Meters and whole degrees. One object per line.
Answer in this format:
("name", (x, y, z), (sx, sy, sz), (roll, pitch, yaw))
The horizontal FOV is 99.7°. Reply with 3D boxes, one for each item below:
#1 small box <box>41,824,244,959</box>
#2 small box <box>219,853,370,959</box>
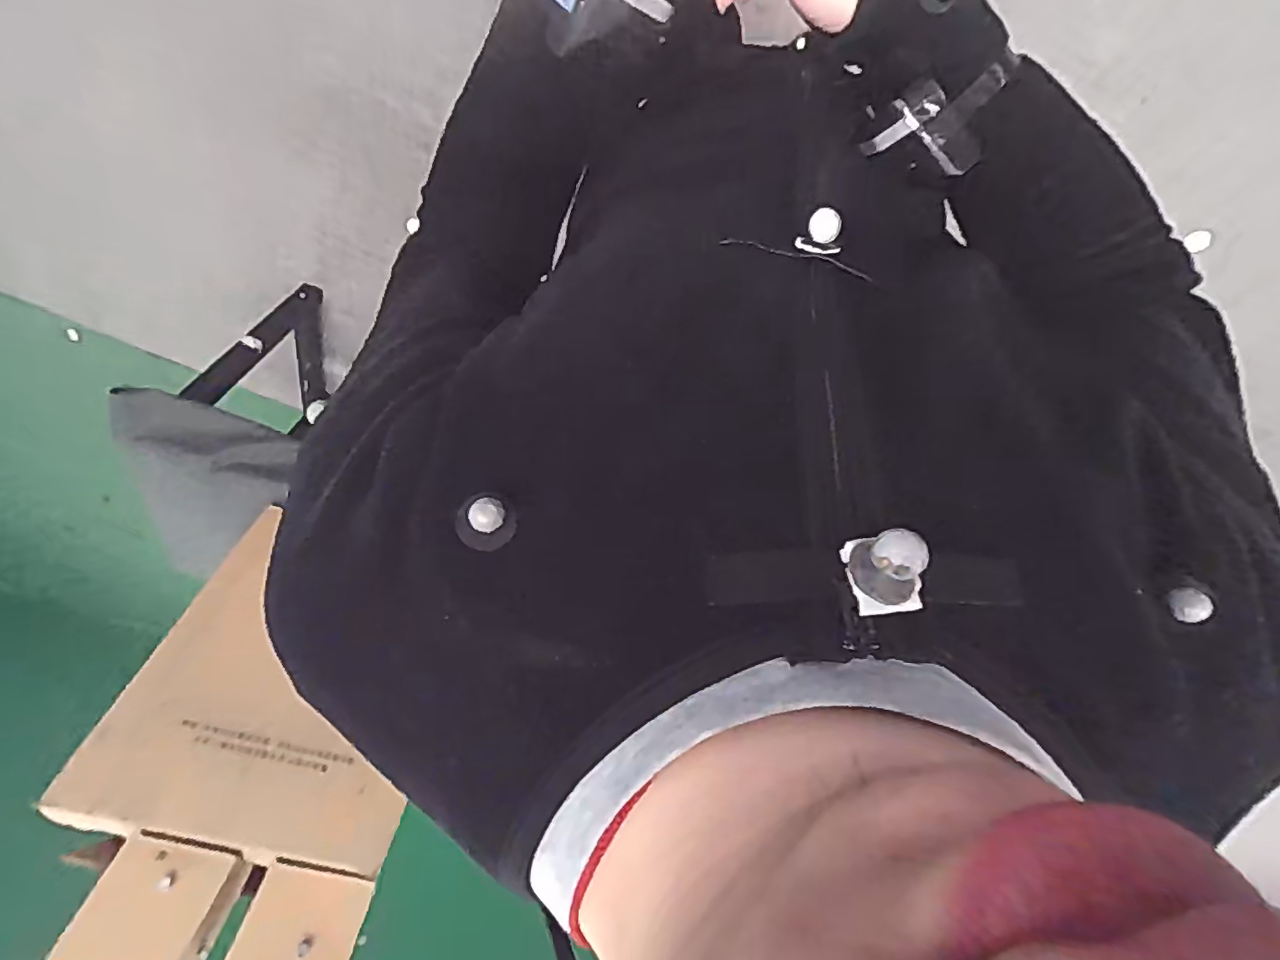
("small box", (-0.794, 0.690, 0.892), (0.168, 0.176, 0.179), (21, 136, -11))
("small box", (-0.587, 0.758, 0.931), (0.179, 0.176, 0.168), (20, 137, -12))
